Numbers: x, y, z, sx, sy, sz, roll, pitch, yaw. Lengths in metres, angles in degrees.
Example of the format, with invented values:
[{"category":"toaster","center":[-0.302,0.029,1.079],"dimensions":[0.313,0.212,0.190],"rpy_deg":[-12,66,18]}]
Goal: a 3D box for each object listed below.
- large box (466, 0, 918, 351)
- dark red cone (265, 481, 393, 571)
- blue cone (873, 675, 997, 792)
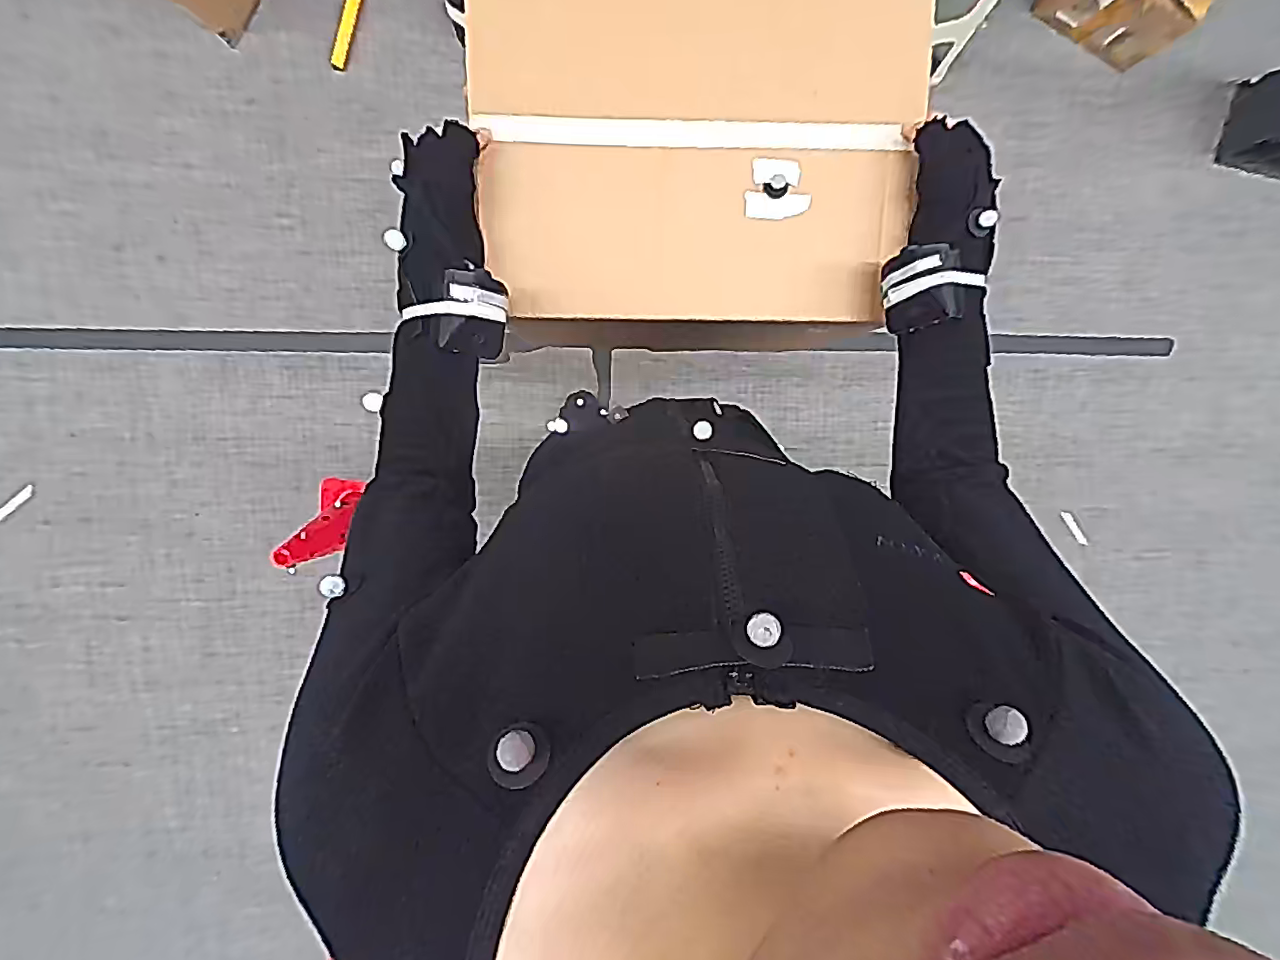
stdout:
[{"category":"large box","center":[0.041,-0.326,0.631],"dimensions":[0.408,0.320,0.320],"rpy_deg":[0,98,-3]},{"category":"dark red cone","center":[-0.736,0.133,1.251],"dimensions":[0.201,0.394,0.202],"rpy_deg":[6,99,-6]},{"category":"blue cone","center":[0.816,0.707,1.479],"dimensions":[0.192,0.380,0.193],"rpy_deg":[3,99,-5]}]
